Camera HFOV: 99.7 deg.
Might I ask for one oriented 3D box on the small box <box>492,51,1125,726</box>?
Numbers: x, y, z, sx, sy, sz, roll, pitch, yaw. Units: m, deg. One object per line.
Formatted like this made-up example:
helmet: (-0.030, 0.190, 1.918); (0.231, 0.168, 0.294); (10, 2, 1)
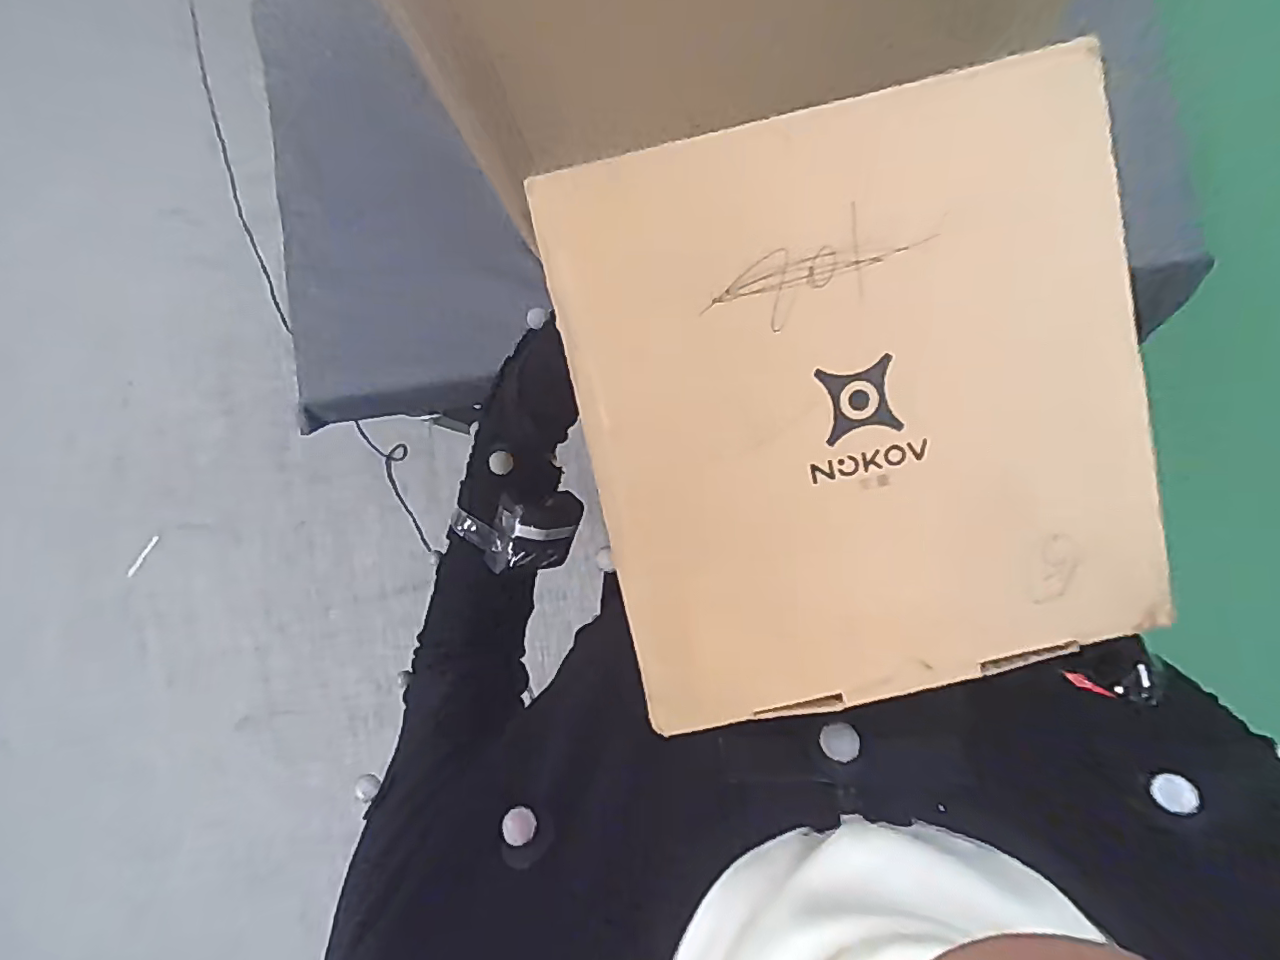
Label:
small box: (0.054, -0.029, 0.242); (0.168, 0.176, 0.179); (-13, 95, 1)
